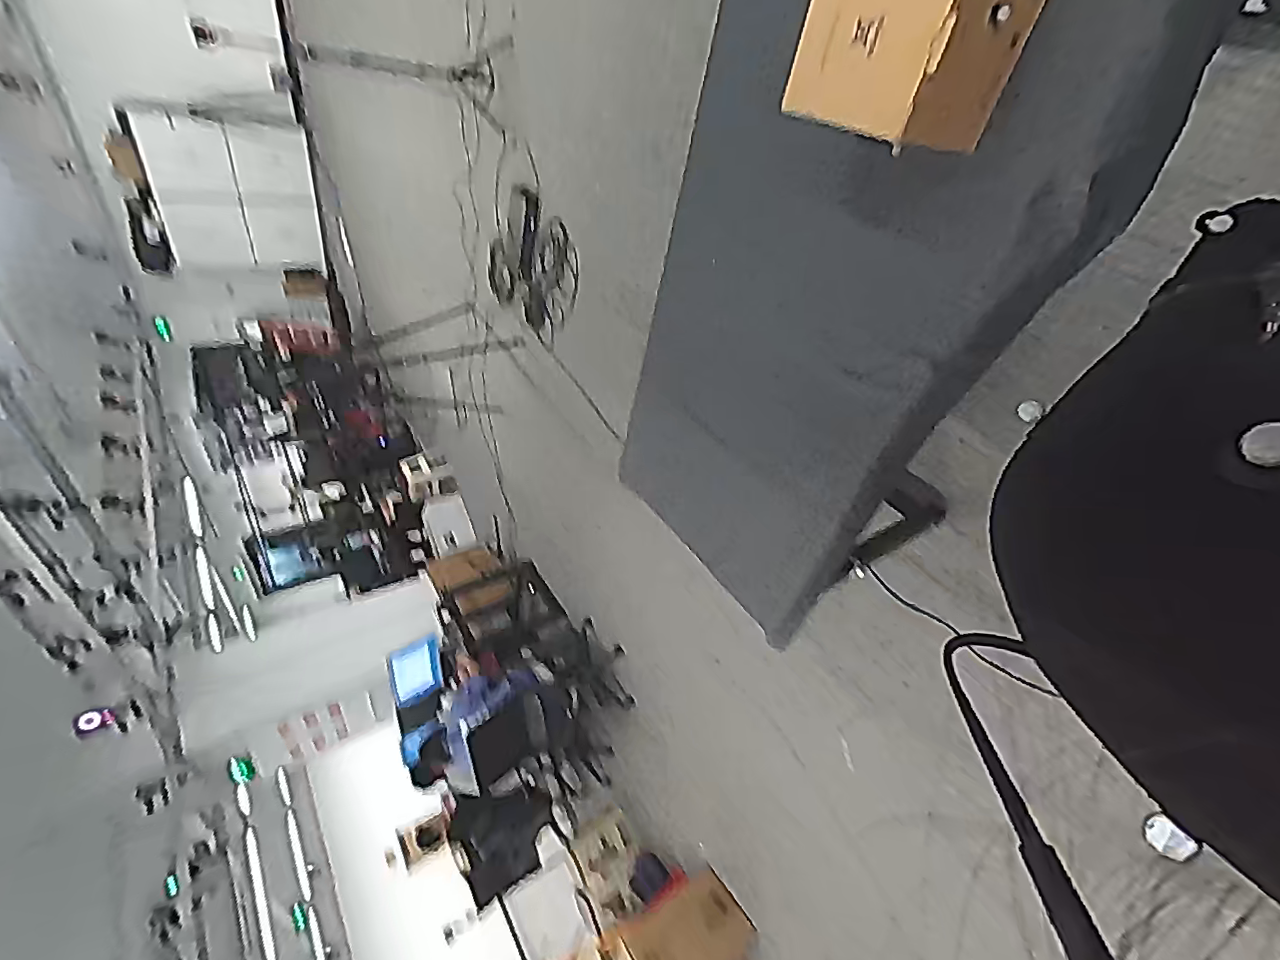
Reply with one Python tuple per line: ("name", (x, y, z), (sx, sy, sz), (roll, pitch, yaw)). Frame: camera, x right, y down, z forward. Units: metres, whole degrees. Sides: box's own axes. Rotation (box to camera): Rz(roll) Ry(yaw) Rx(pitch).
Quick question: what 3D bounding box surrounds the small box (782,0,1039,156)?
("small box", (0.304, -0.485, 0.620), (0.179, 0.176, 0.168), (47, 139, 37))
